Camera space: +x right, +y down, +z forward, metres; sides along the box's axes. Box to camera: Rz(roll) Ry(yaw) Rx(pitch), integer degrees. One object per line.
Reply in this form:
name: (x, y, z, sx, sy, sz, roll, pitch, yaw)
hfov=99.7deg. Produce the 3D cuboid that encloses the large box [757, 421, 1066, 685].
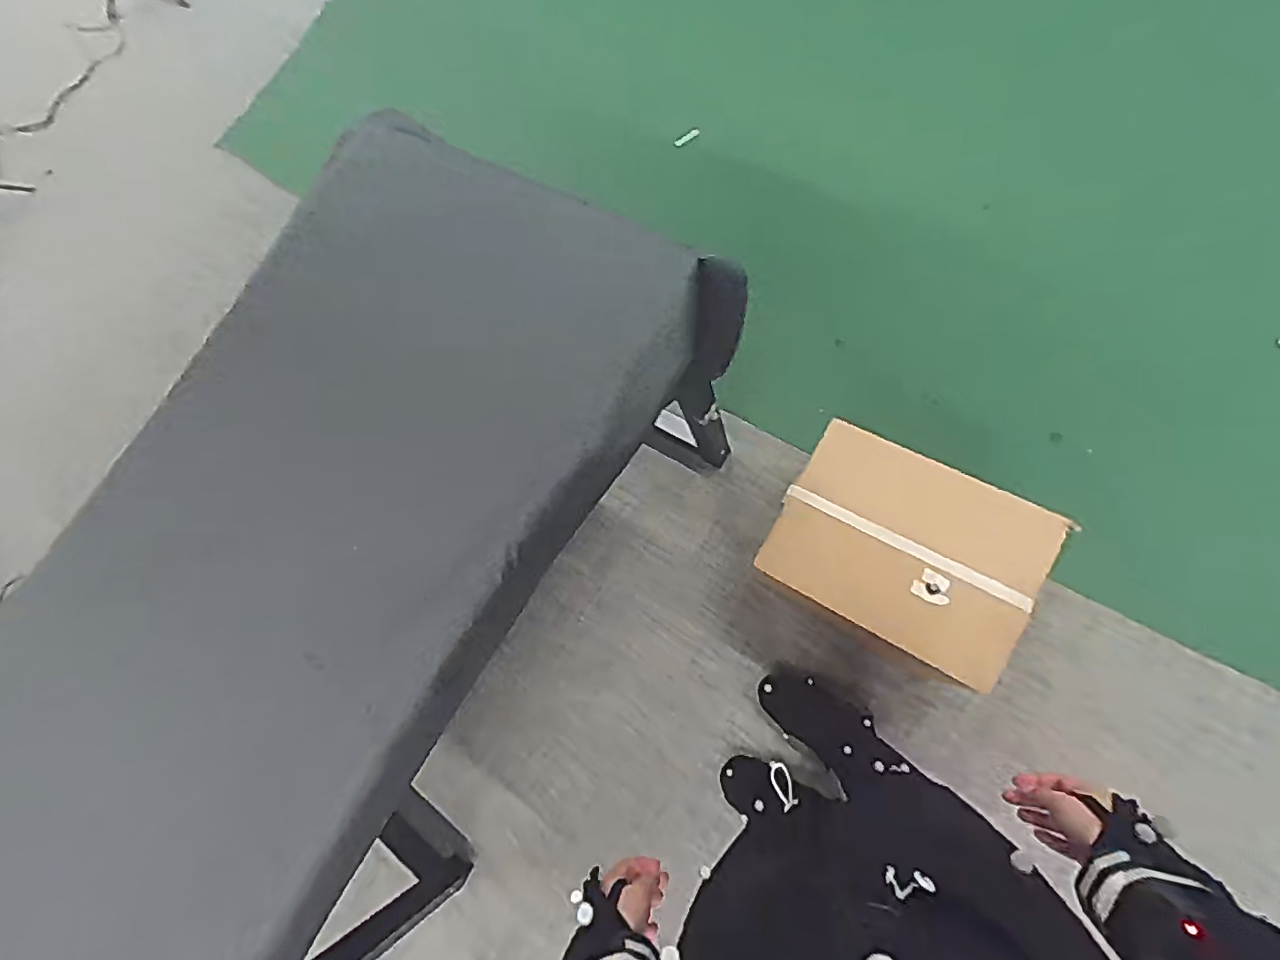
large box: (0.476, 0.142, 1.050, 0.408, 0.320, 0.320, 28, 84, 19)
